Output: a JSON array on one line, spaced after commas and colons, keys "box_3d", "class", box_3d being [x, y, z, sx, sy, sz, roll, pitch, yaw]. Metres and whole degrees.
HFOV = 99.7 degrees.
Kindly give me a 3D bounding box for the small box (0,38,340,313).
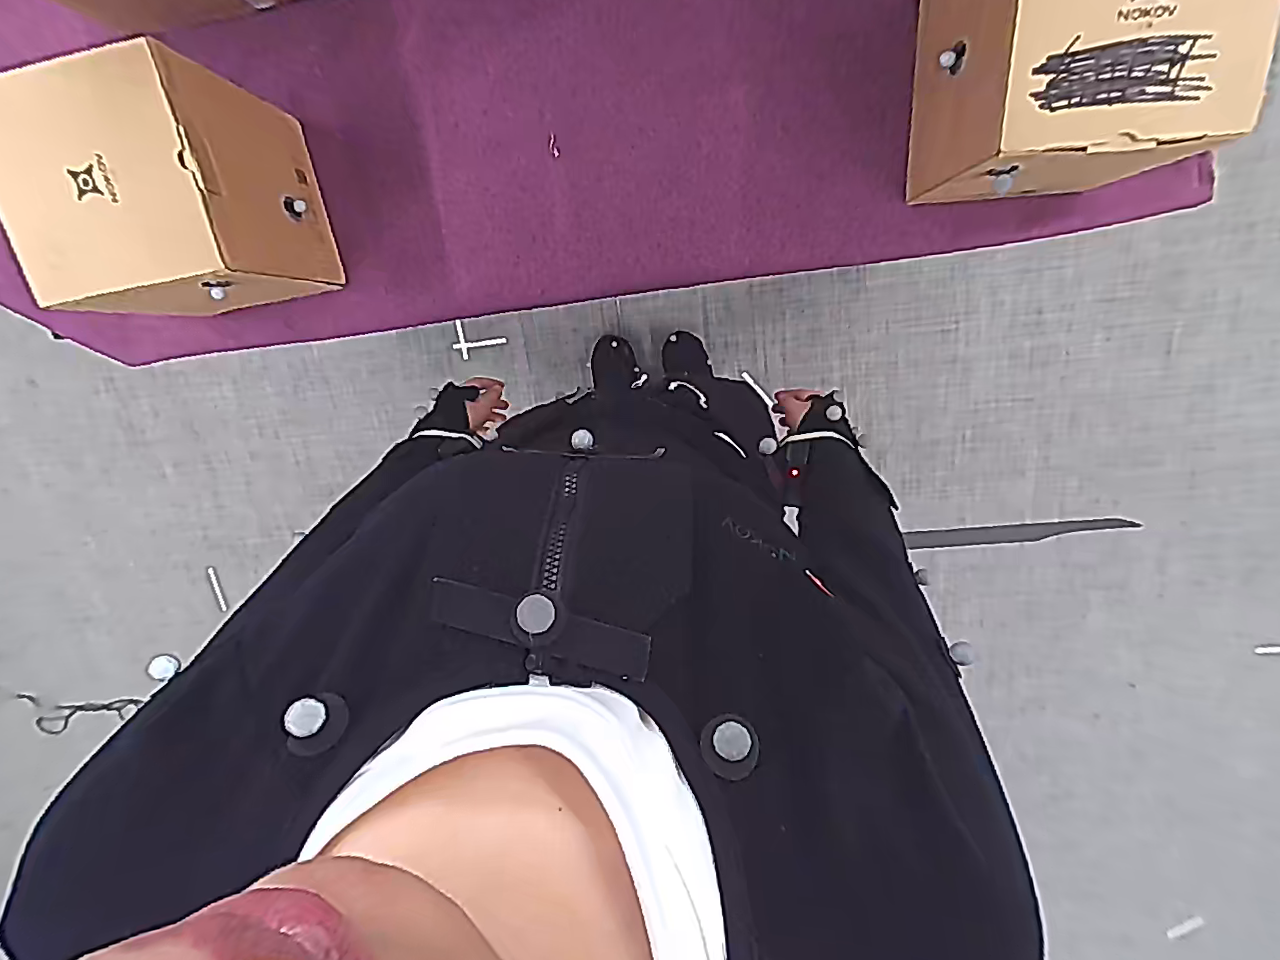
[{"box_3d": [-0.426, -0.256, 0.503, 0.179, 0.176, 0.168, -10, 104, 5], "class": "small box"}]
